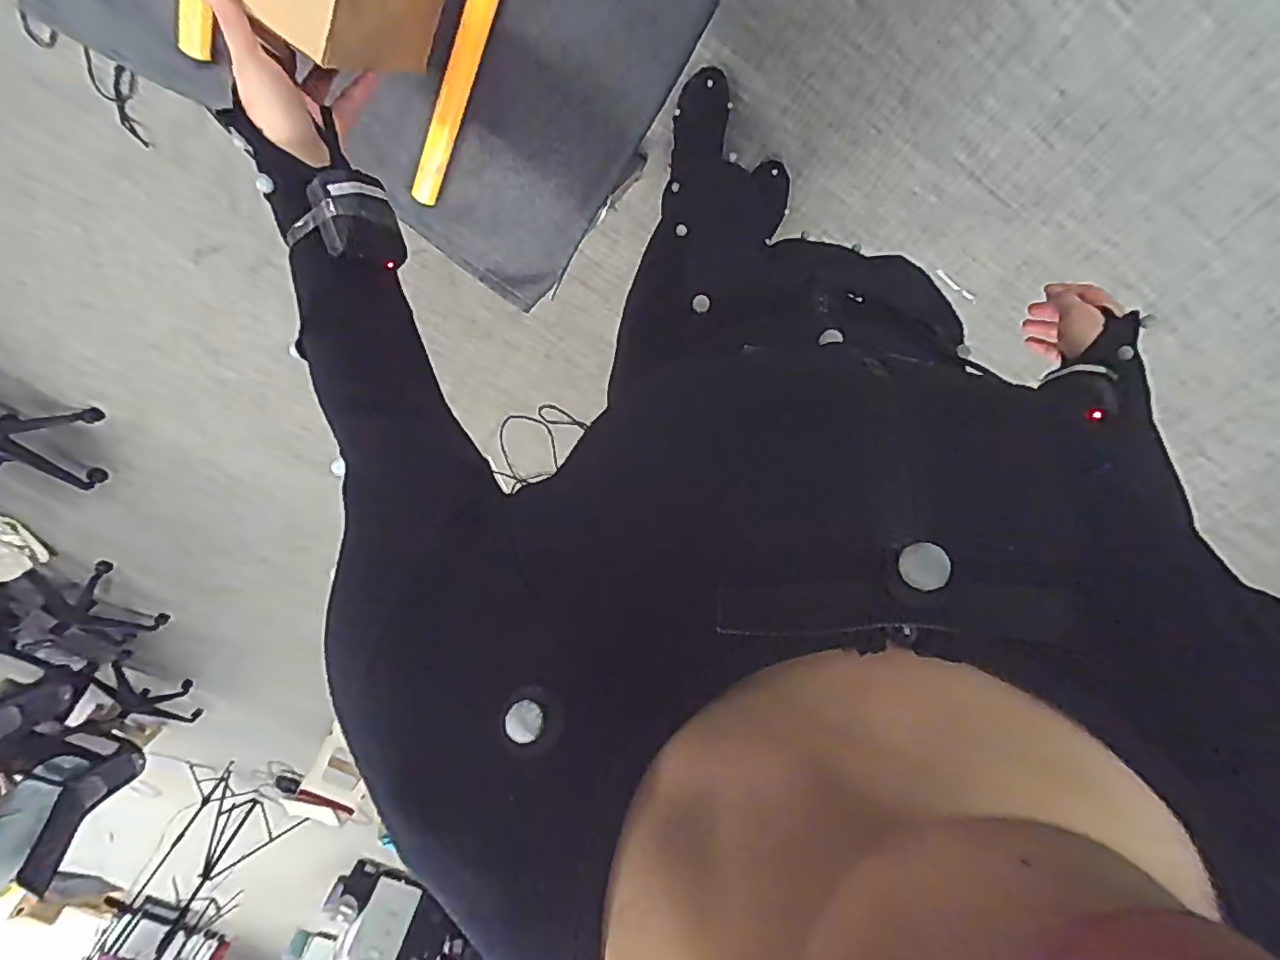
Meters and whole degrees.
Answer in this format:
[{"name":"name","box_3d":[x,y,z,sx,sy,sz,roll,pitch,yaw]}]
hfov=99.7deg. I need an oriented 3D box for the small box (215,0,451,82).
[{"name":"small box","box_3d":[-0.244,-0.447,0.417,0.168,0.176,0.179,31,124,-13]}]
